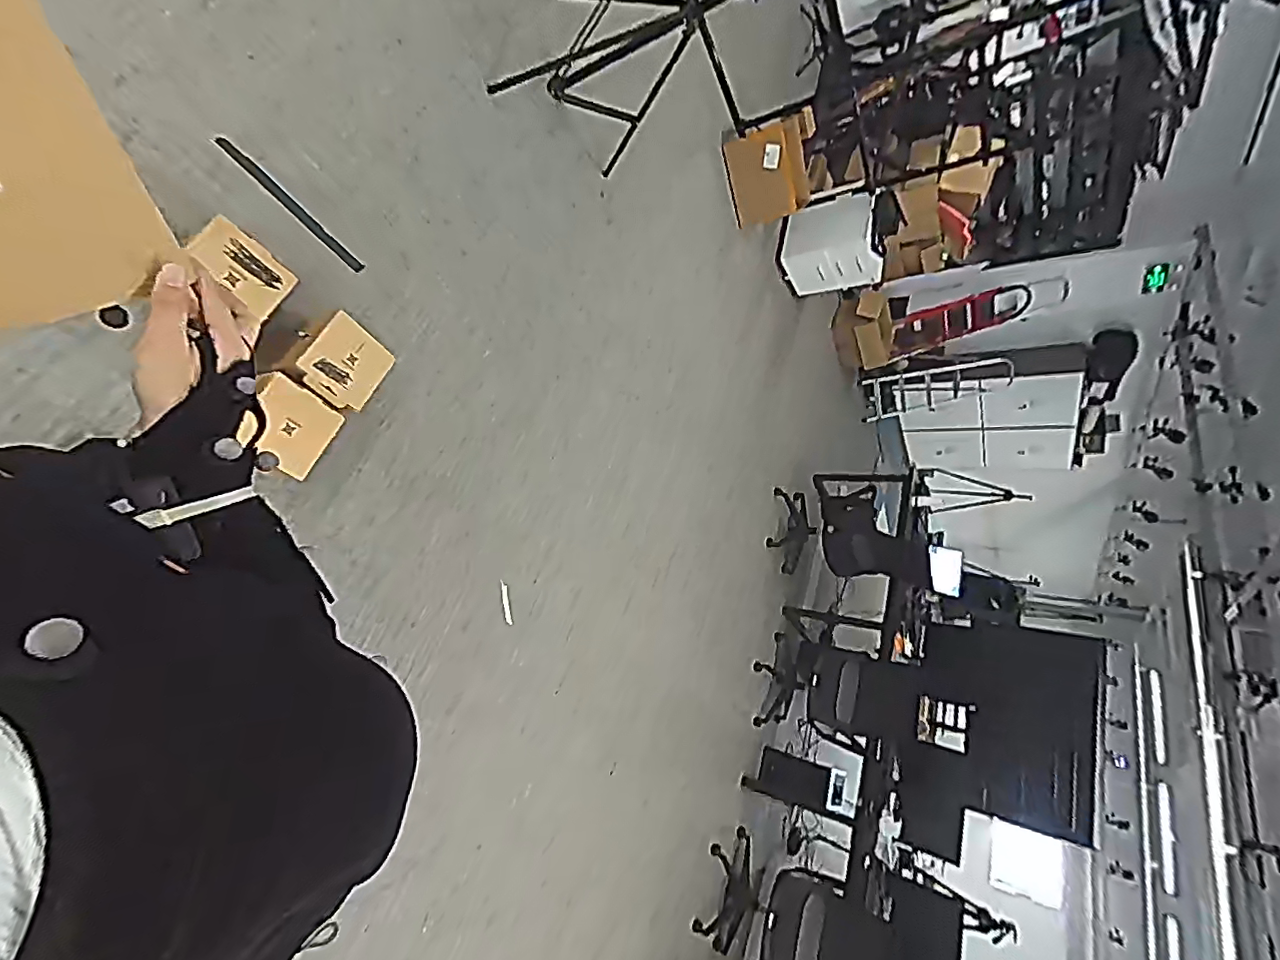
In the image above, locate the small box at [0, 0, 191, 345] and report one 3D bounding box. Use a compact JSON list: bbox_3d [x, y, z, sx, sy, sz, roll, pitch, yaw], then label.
[{"bbox_3d":[-0.429,-0.166,0.308,0.179,0.176,0.168,-48,139,-43],"label":"small box"}]
